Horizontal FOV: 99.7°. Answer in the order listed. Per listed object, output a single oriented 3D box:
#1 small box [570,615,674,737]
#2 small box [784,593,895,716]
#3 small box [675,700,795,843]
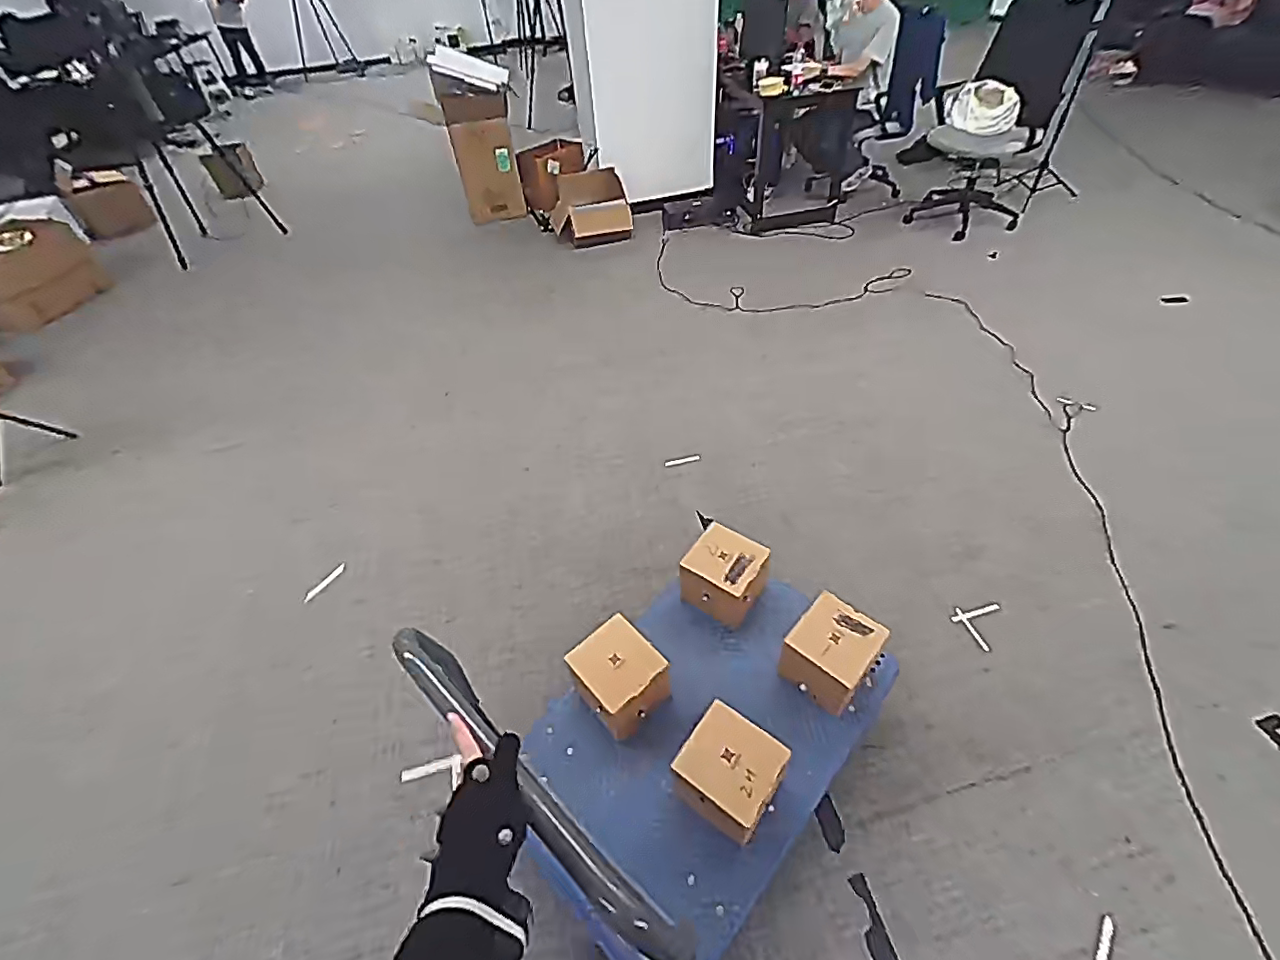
[{"bbox_3d":[-0.039,0.455,1.250,0.168,0.176,0.179,-35,54,-25],"label":"small box"},{"bbox_3d":[0.450,0.403,1.249,0.168,0.176,0.179,33,59,31],"label":"small box"},{"bbox_3d":[0.188,0.593,1.094,0.179,0.176,0.168,28,55,29],"label":"small box"}]
